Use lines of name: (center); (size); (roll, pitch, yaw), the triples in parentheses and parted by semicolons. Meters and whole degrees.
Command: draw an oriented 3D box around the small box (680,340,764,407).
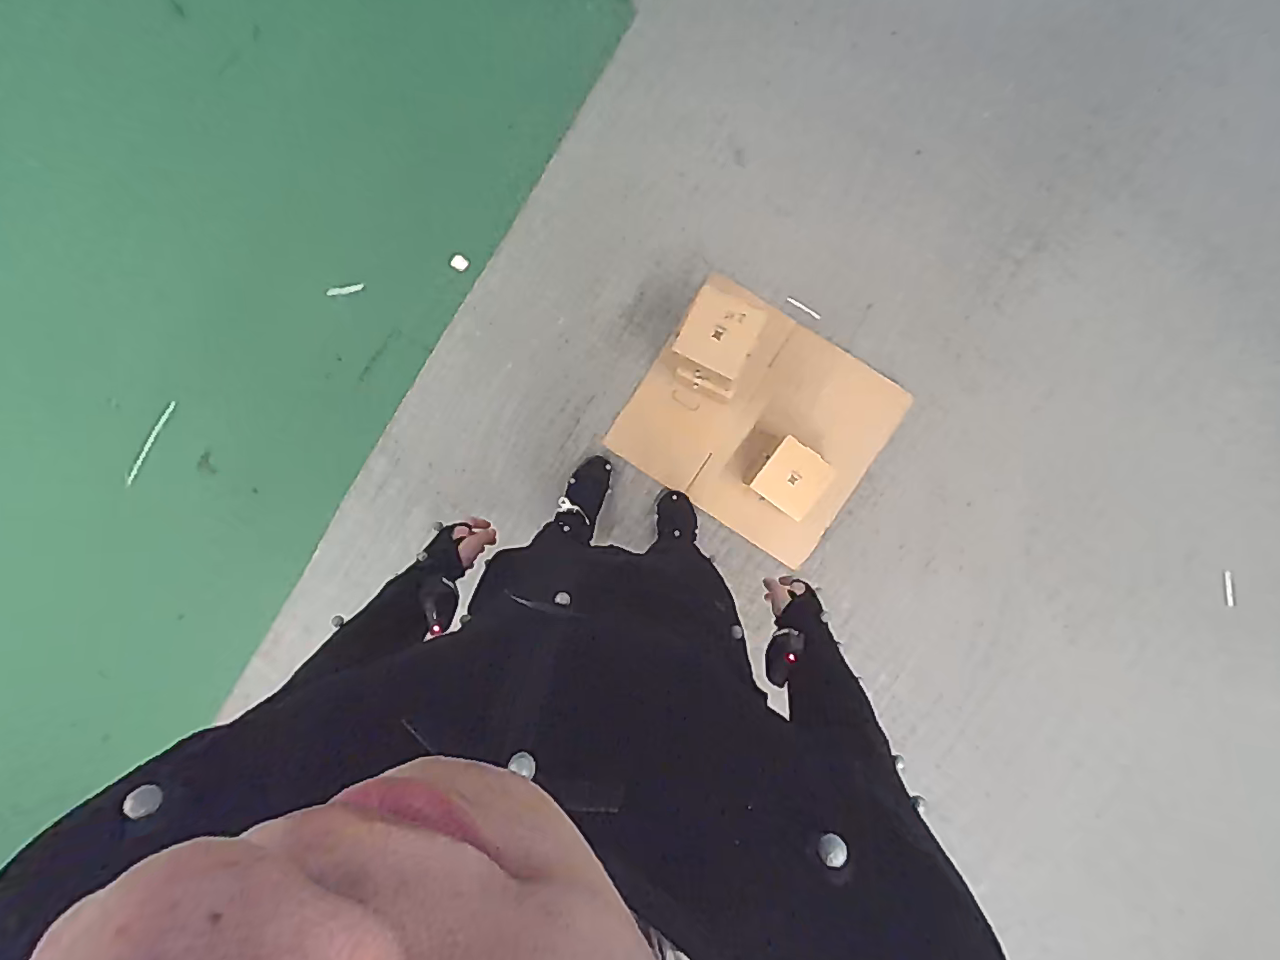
small box: (0.218, -0.320, 1.494); (0.168, 0.176, 0.179); (27, 93, 3)

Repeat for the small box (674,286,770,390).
small box: (0.196, -0.339, 1.330); (0.168, 0.176, 0.179); (28, 93, 2)

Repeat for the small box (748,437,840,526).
small box: (0.413, 0.003, 1.485); (0.168, 0.176, 0.179); (37, 93, 3)
